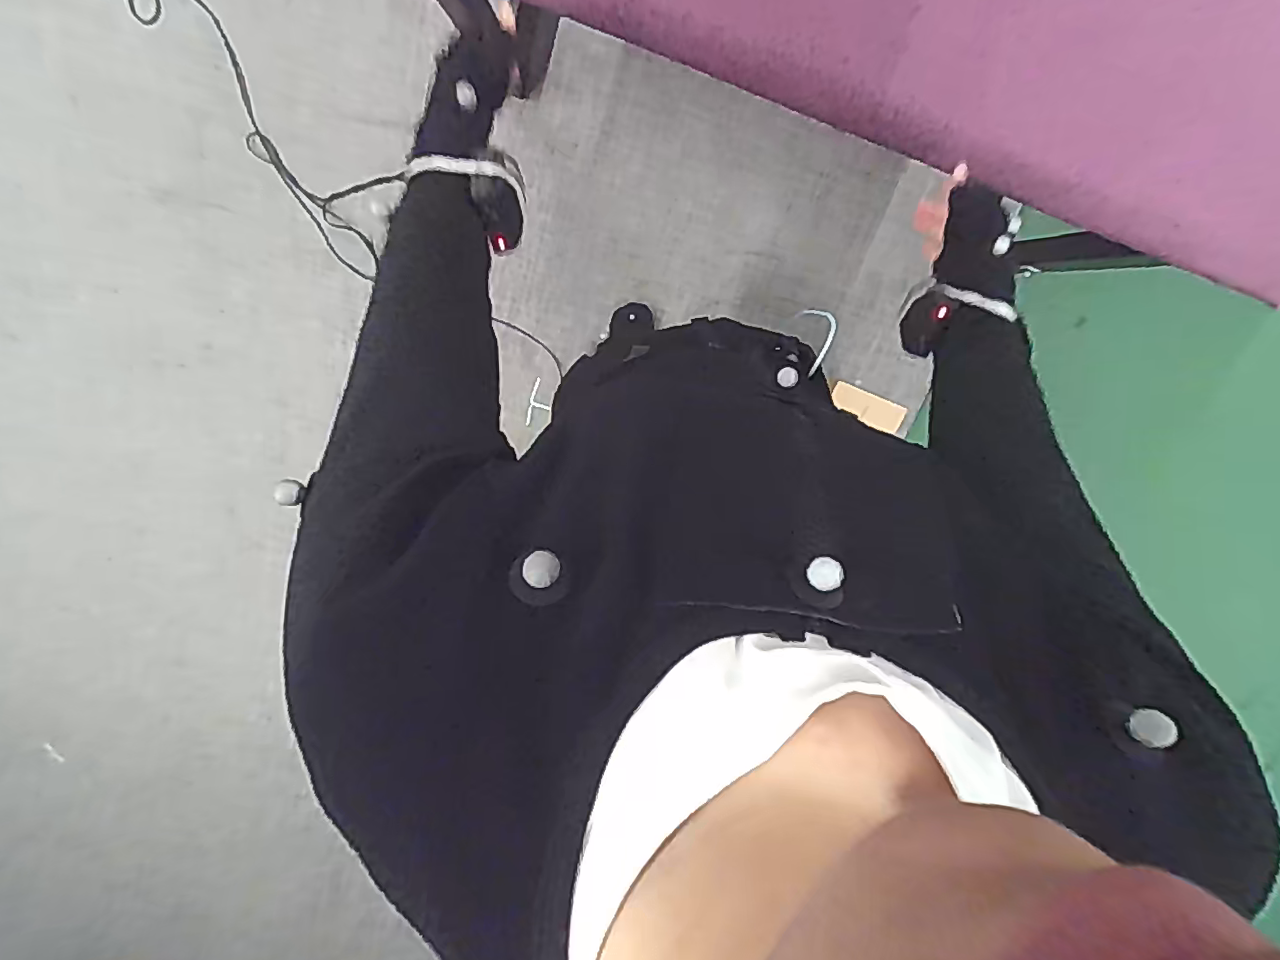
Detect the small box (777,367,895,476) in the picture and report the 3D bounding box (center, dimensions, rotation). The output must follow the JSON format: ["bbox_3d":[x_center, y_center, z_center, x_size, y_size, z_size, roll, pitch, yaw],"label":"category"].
[{"bbox_3d":[0.428,-0.137,1.219,0.168,0.176,0.179,21,107,-8],"label":"small box"}]
